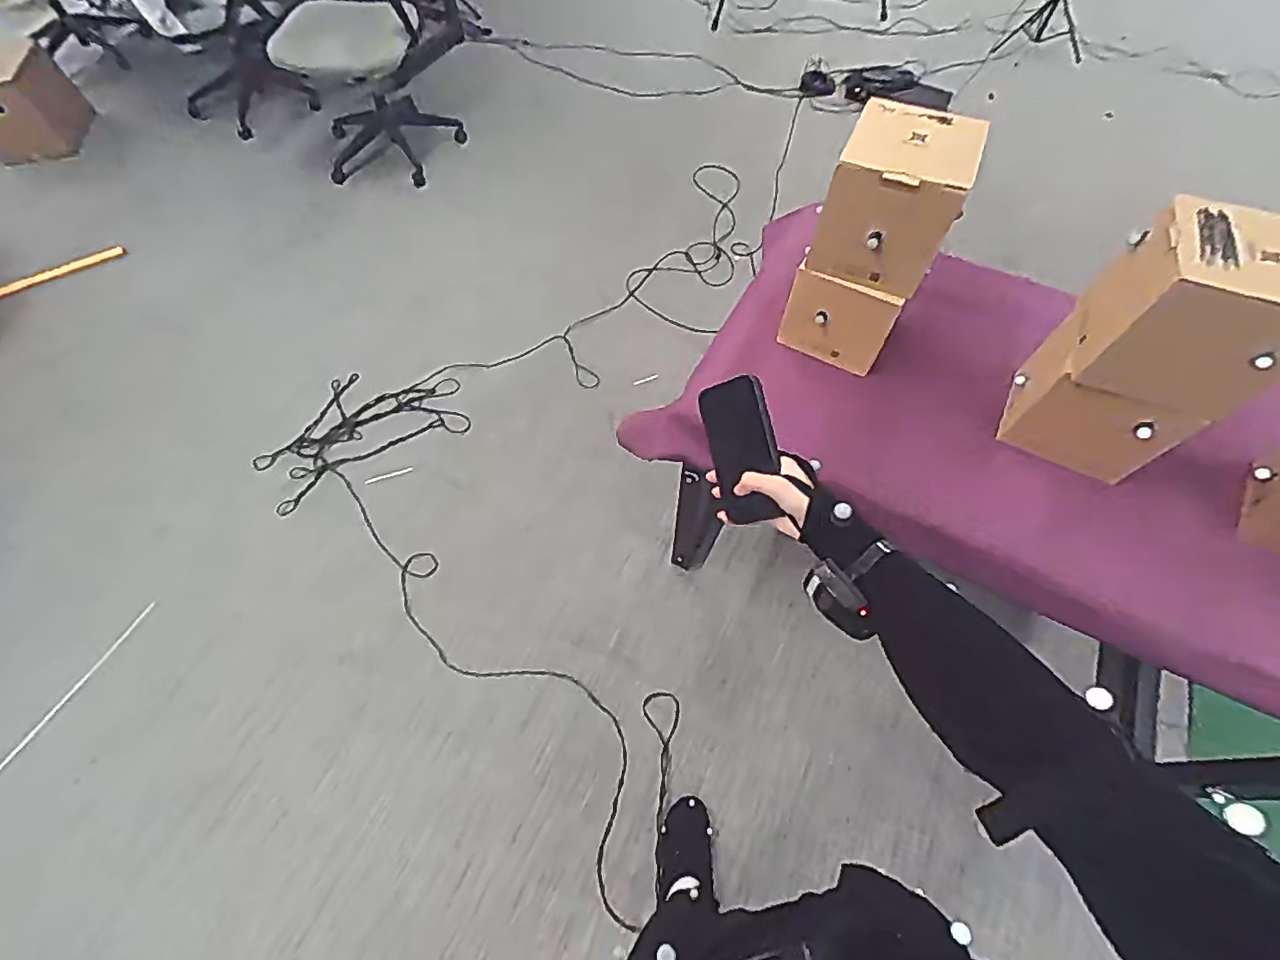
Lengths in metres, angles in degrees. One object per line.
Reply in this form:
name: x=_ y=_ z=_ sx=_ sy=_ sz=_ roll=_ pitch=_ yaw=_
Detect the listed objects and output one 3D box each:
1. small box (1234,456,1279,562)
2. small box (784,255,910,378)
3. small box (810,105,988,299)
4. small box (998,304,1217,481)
small box: x=0.971 y=0.037 z=0.713 sx=0.179 sy=0.176 sz=0.168 roll=33 pitch=65 yaw=18
small box: x=0.360 y=-0.306 z=0.921 sx=0.168 sy=0.176 sz=0.179 roll=27 pitch=64 yaw=16
small box: x=0.362 y=-0.395 z=0.782 sx=0.168 sy=0.176 sz=0.179 roll=23 pitch=63 yaw=13
small box: x=0.685 y=-0.121 z=0.808 sx=0.179 sy=0.176 sz=0.168 roll=27 pitch=64 yaw=15
